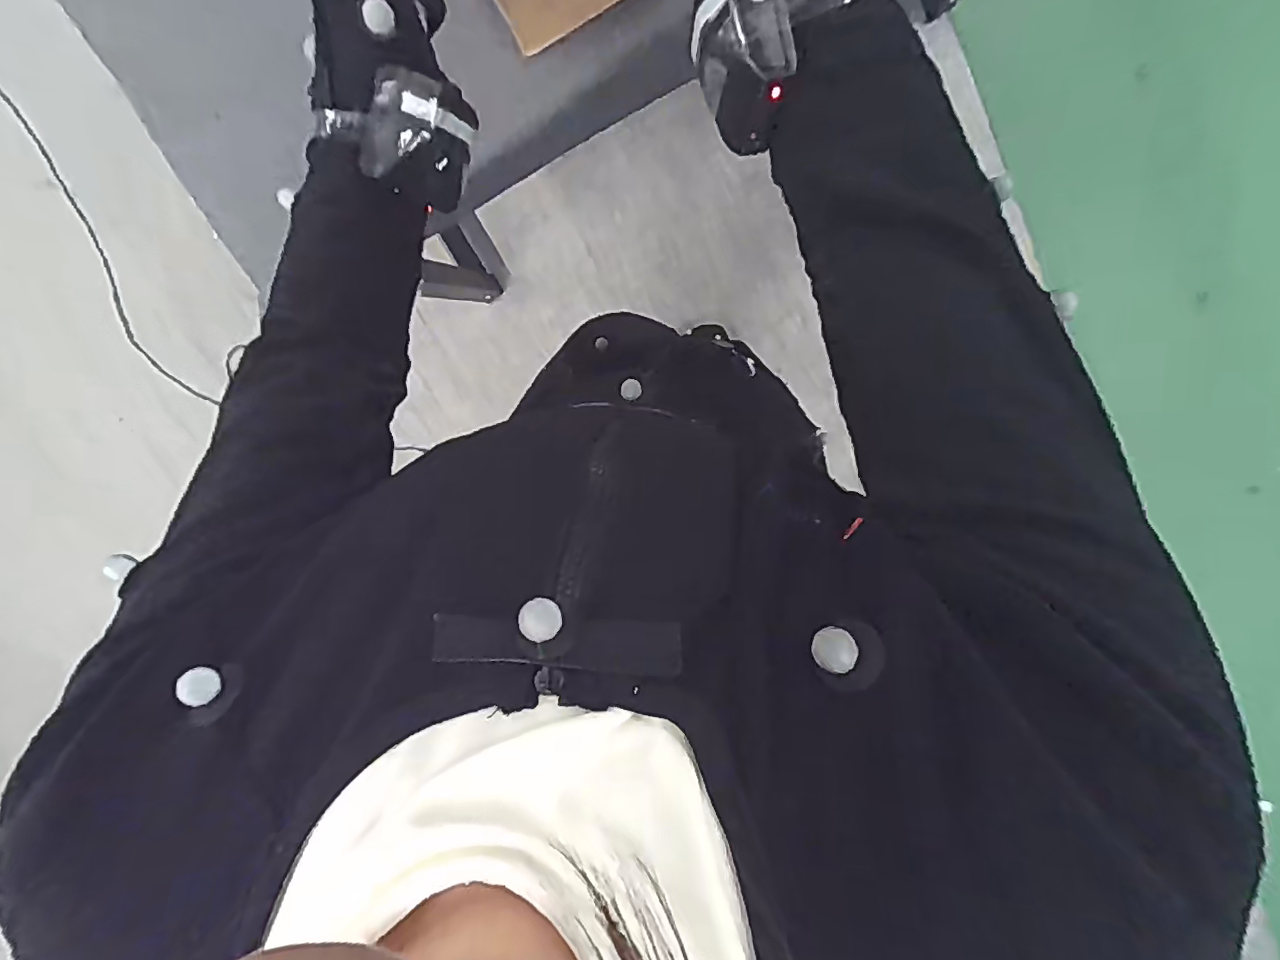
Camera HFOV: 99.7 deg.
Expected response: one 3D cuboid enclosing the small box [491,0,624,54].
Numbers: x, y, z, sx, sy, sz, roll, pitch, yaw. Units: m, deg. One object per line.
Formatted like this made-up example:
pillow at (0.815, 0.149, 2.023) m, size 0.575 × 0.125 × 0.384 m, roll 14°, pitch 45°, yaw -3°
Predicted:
small box at (-0.085, -0.524, 0.461) m, size 0.179 × 0.176 × 0.168 m, roll -24°, pitch 101°, yaw 13°
